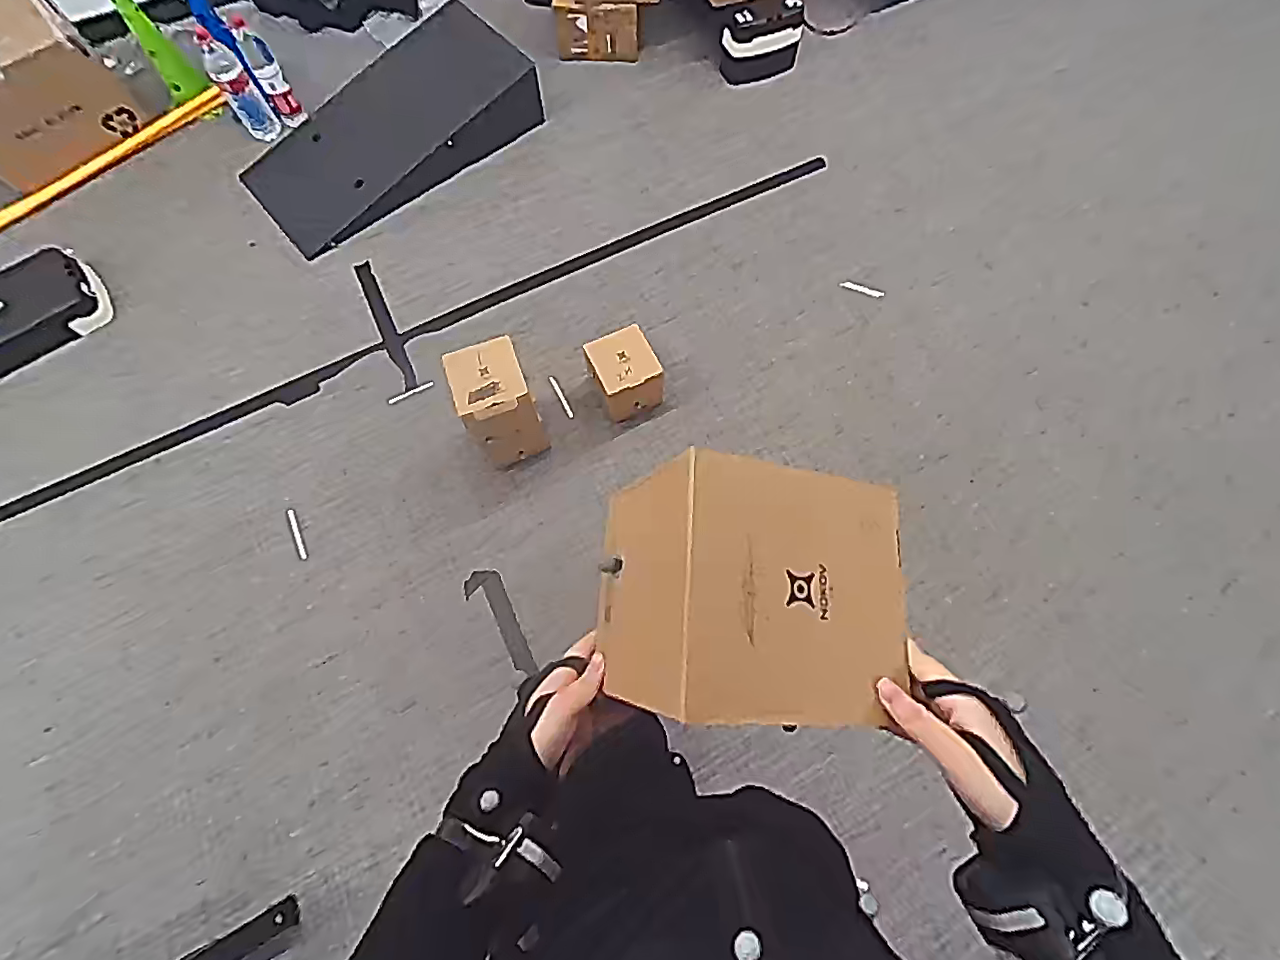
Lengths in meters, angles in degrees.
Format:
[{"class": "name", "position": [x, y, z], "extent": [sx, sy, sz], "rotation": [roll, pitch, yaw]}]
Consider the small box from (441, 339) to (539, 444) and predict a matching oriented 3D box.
[{"class": "small box", "position": [-0.355, -0.204, 1.306], "extent": [0.168, 0.176, 0.179], "rotation": [-19, 70, -7]}]

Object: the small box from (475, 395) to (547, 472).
[{"class": "small box", "position": [-0.361, -0.148, 1.462], "extent": [0.179, 0.176, 0.168], "rotation": [-24, 71, -10]}]

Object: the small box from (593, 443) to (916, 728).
[{"class": "small box", "position": [0.078, 0.088, 0.419], "extent": [0.179, 0.176, 0.168], "rotation": [11, 72, -20]}]

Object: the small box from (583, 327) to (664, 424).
[{"class": "small box", "position": [-0.046, -0.288, 1.514], "extent": [0.168, 0.176, 0.179], "rotation": [-24, 71, -8]}]
